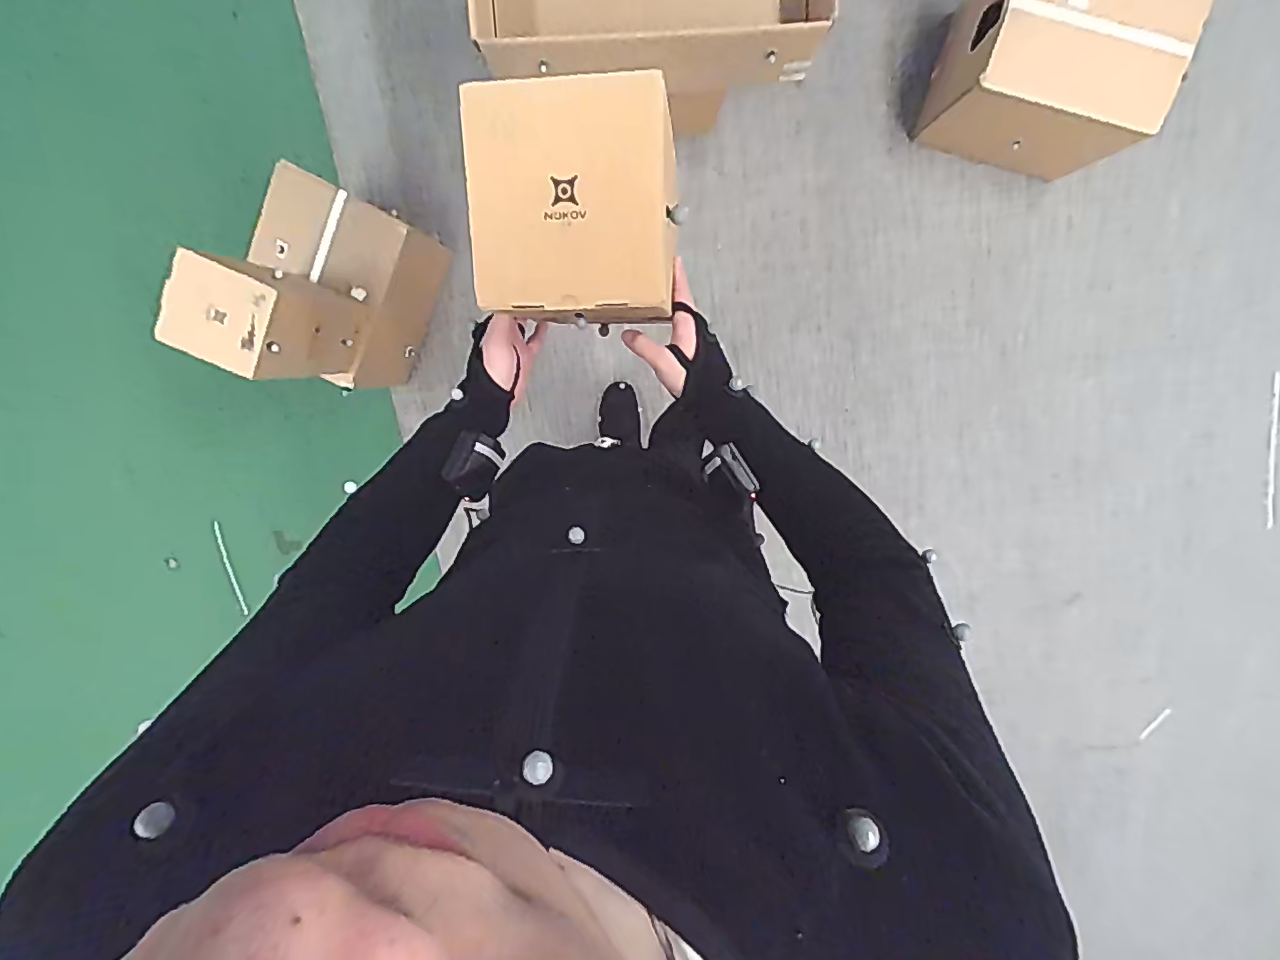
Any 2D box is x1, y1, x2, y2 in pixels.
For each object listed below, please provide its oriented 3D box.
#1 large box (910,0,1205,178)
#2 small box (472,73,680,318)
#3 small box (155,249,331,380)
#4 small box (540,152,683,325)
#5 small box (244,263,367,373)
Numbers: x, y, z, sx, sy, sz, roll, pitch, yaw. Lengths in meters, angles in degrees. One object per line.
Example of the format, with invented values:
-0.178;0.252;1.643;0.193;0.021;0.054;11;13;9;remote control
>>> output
0.935;-0.953;1.260;0.408;0.320;0.320;14;102;-2;large box
-0.047;-0.252;0.522;0.168;0.176;0.179;0;105;6;small box
-0.717;-0.294;0.995;0.179;0.176;0.168;24;101;-5;small box
-0.032;-0.290;0.679;0.168;0.176;0.179;2;105;5;small box
-0.727;-0.333;1.154;0.179;0.176;0.168;25;102;-6;small box
